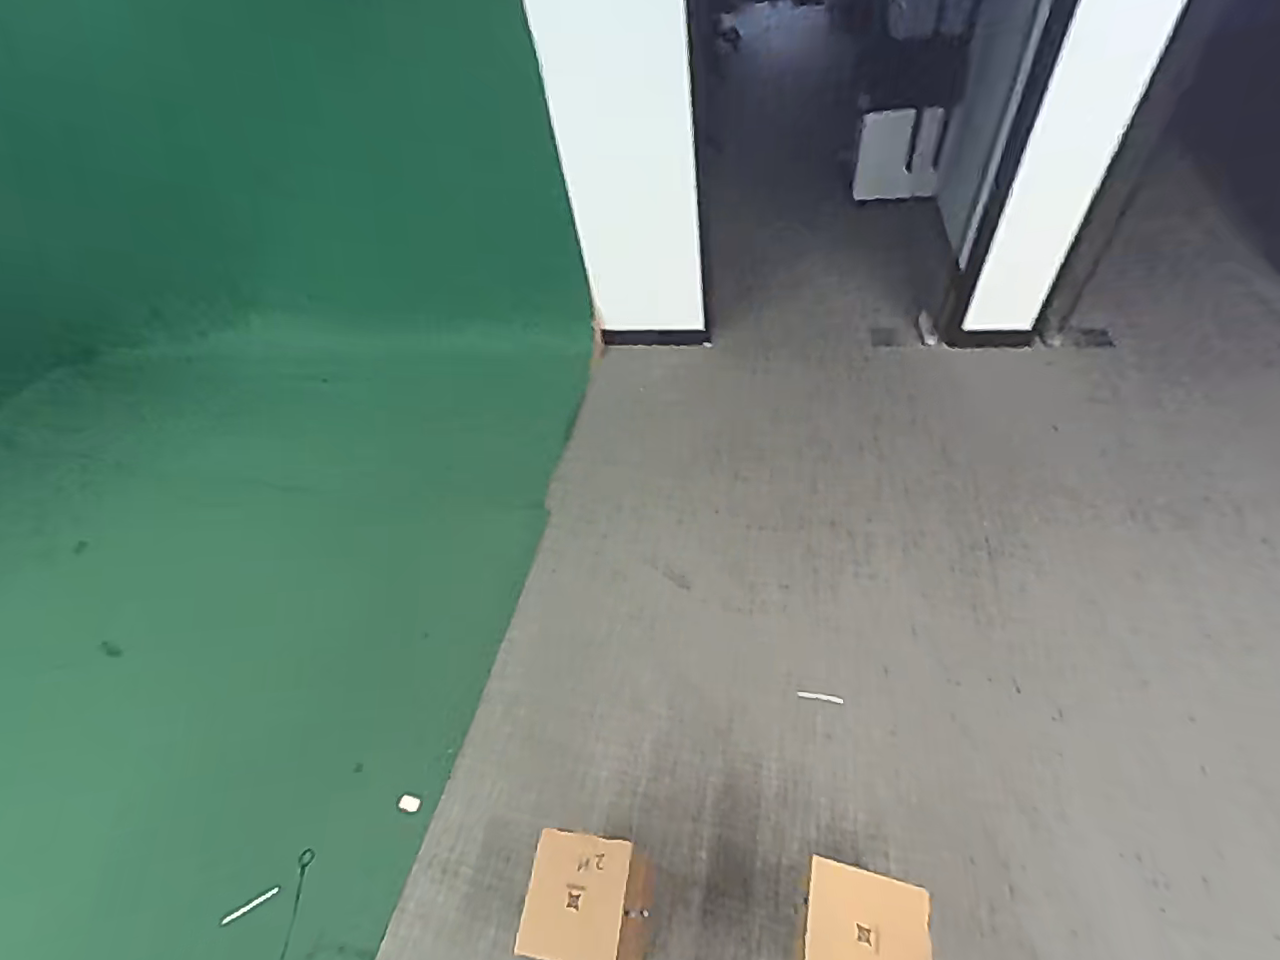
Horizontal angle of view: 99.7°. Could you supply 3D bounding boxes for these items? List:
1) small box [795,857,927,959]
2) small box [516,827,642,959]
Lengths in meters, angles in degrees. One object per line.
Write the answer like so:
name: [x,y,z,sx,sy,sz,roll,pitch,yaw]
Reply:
small box: [0.350,0.743,0.874,0.179,0.176,0.168,7,51,17]
small box: [-0.095,0.744,0.960,0.168,0.176,0.179,3,50,12]
